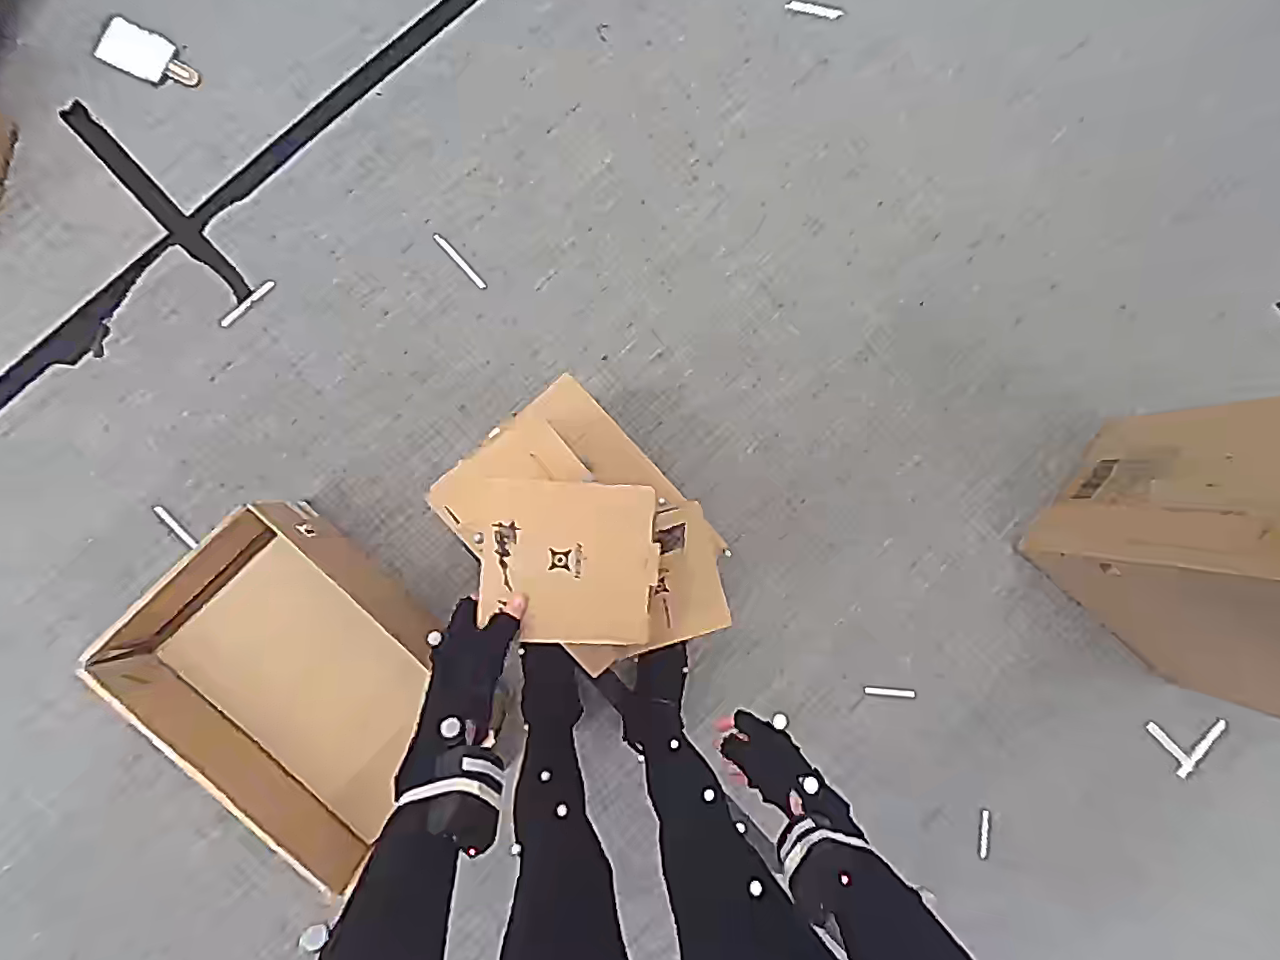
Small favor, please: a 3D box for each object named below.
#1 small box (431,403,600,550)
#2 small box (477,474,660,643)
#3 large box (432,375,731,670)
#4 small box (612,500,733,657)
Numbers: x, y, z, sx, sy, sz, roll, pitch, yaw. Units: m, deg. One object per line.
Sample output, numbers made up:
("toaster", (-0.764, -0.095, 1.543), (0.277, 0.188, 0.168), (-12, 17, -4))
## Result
("small box", (-0.163, 0.016, 0.785), (0.179, 0.176, 0.168), (-41, 94, -6))
("small box", (-0.079, 0.083, 0.625), (0.179, 0.176, 0.168), (4, 87, -6))
("large box", (-0.107, 0.071, 1.032), (0.320, 0.320, 0.408), (-44, 93, -4))
("small box", (0.018, 0.133, 0.795), (0.168, 0.176, 0.179), (-15, 90, -5))
